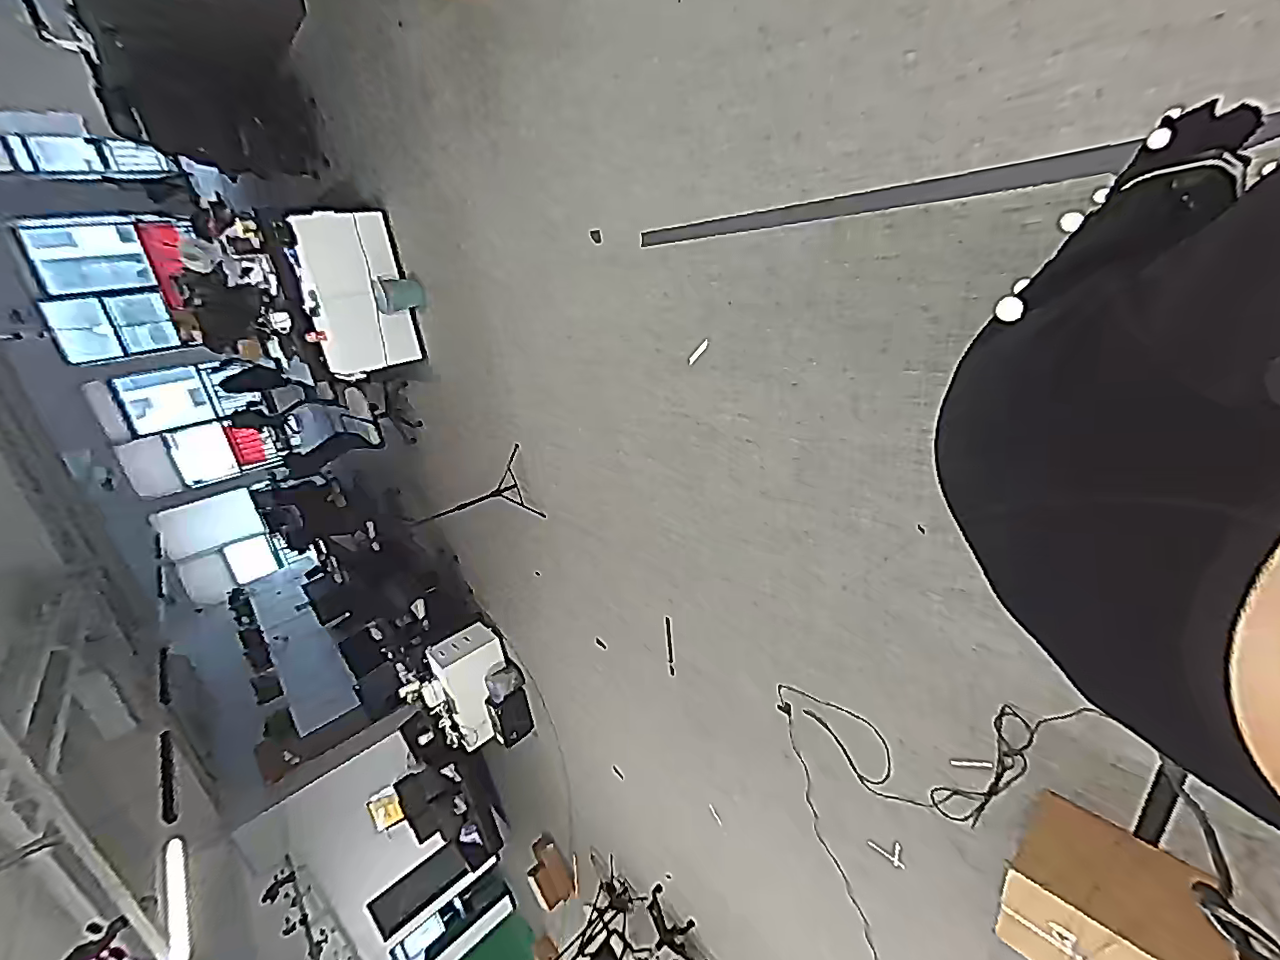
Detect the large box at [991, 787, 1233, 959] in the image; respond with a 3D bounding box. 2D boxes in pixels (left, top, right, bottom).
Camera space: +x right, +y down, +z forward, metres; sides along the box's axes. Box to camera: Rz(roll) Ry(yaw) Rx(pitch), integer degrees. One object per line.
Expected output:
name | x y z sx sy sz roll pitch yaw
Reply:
large box | 1.229 1.133 1.432 0.408 0.320 0.320 19 124 46
